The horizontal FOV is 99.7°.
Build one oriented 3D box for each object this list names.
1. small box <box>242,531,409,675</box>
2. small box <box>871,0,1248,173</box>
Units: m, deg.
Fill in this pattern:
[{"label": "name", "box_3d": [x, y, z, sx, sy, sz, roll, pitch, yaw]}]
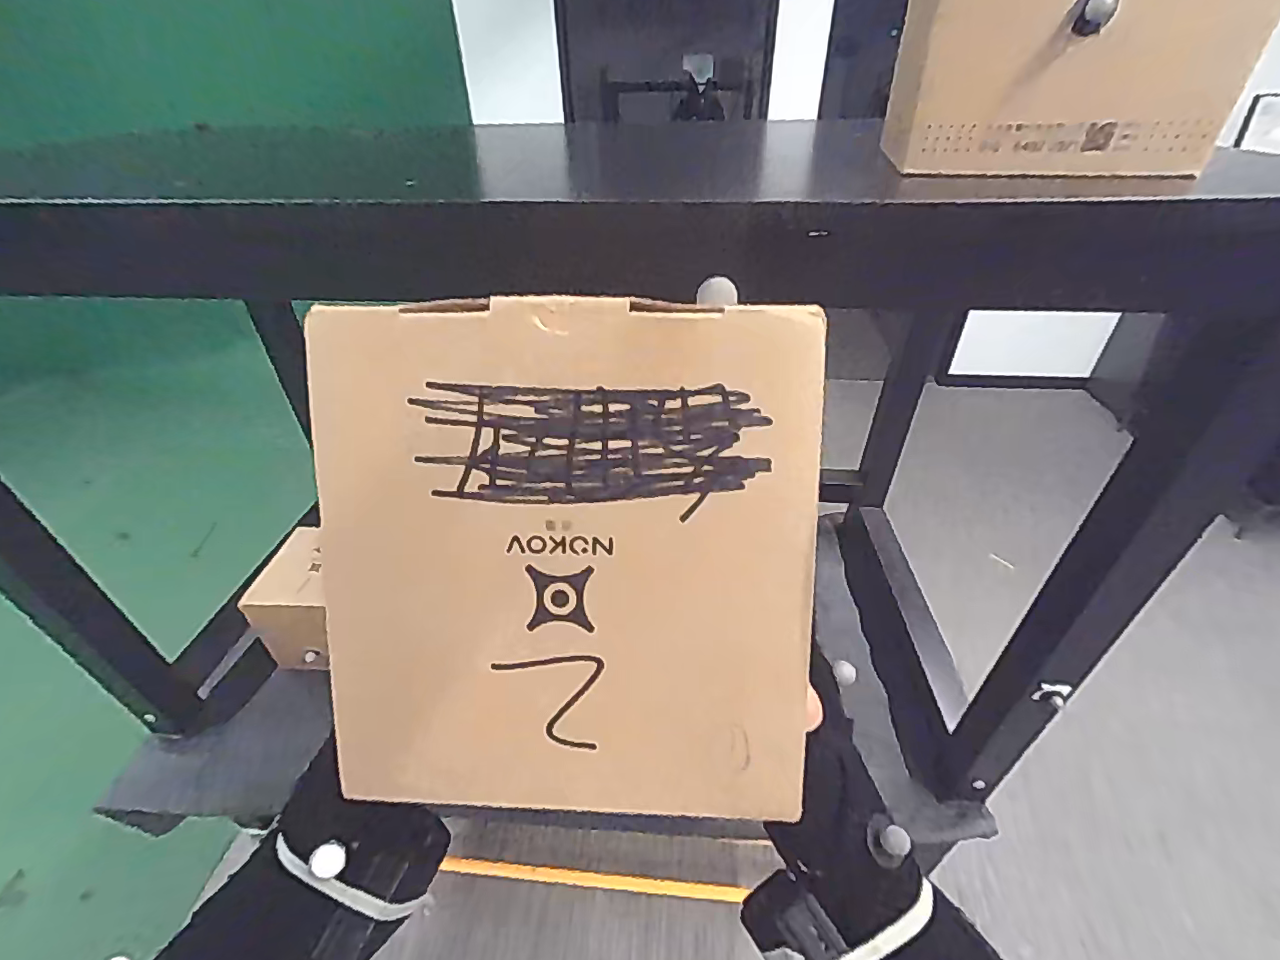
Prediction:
[{"label": "small box", "box_3d": [-0.518, 0.207, 0.926, 0.168, 0.176, 0.179, 0, 37, 3]}, {"label": "small box", "box_3d": [0.258, -0.305, 0.353, 0.168, 0.176, 0.179, 8, 37, 13]}]
